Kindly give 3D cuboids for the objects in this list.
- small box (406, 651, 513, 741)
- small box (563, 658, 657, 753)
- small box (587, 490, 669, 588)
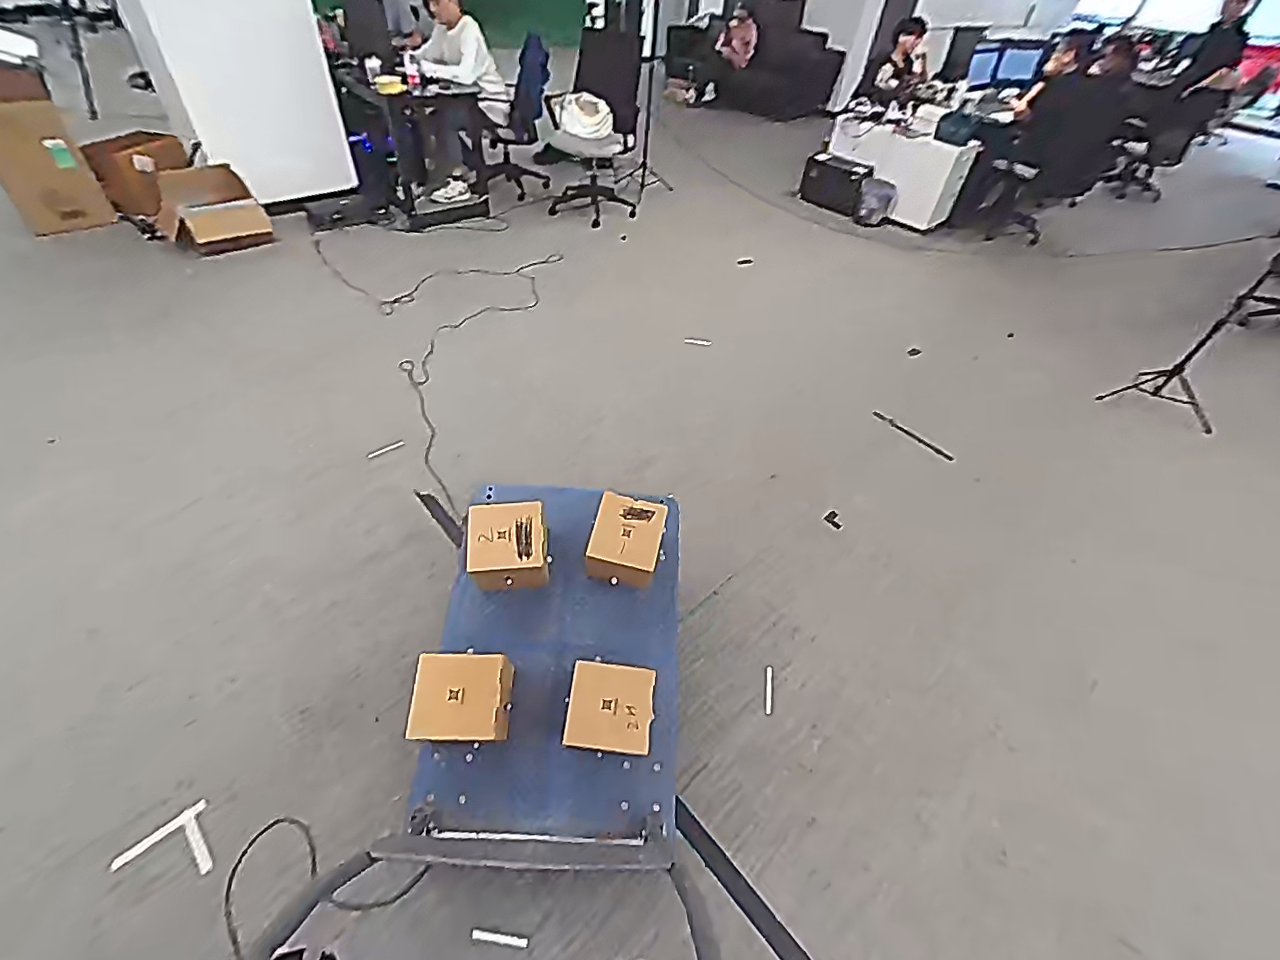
[{"bbox_3d":[-0.382,0.473,1.174,0.179,0.176,0.168,3,63,-6],"label":"small box"},{"bbox_3d":[-0.065,0.500,1.188,0.179,0.176,0.168,8,63,-1],"label":"small box"},{"bbox_3d":[-0.034,0.153,1.368,0.168,0.176,0.179,14,64,2],"label":"small box"}]
